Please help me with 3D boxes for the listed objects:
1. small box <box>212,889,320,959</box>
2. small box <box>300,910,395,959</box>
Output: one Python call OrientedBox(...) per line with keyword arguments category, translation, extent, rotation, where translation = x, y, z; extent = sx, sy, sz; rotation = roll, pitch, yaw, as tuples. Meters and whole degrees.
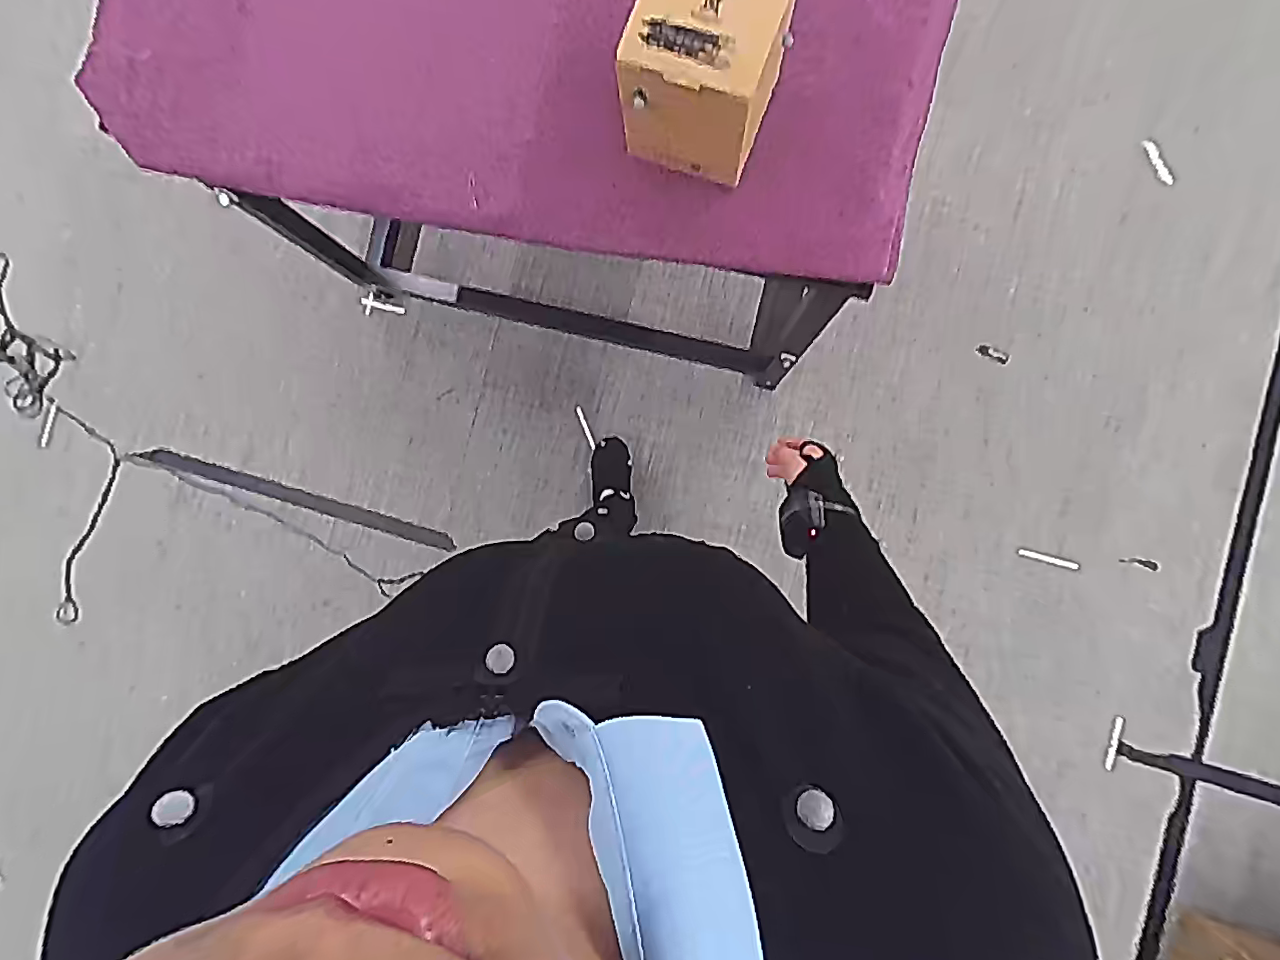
OrientedBox(category="small box", translation=(-0.967, 1.218, 1.391), extent=(0.168, 0.176, 0.179), rotation=(19, 89, 4))
OrientedBox(category="small box", translation=(-0.752, 1.251, 1.374), extent=(0.168, 0.176, 0.179), rotation=(12, 89, 6))
